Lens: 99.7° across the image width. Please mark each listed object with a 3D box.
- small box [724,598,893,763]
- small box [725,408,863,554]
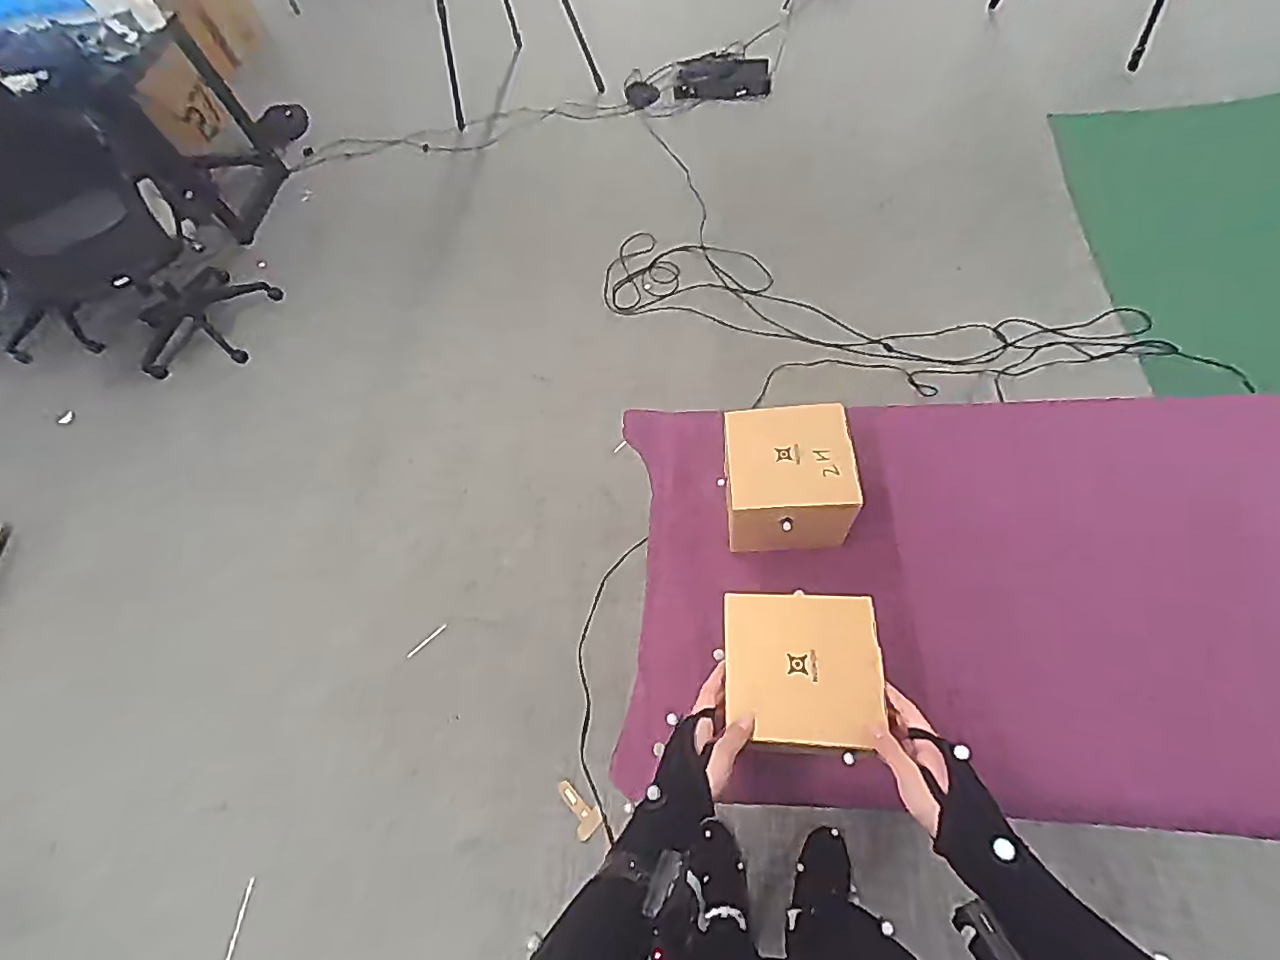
[{"bbox_3d":[0.197,0.256,0.681,0.179,0.176,0.168,0,60,9],"label":"small box"},{"bbox_3d":[0.224,0.009,0.831,0.179,0.176,0.168,-3,62,7],"label":"small box"}]
